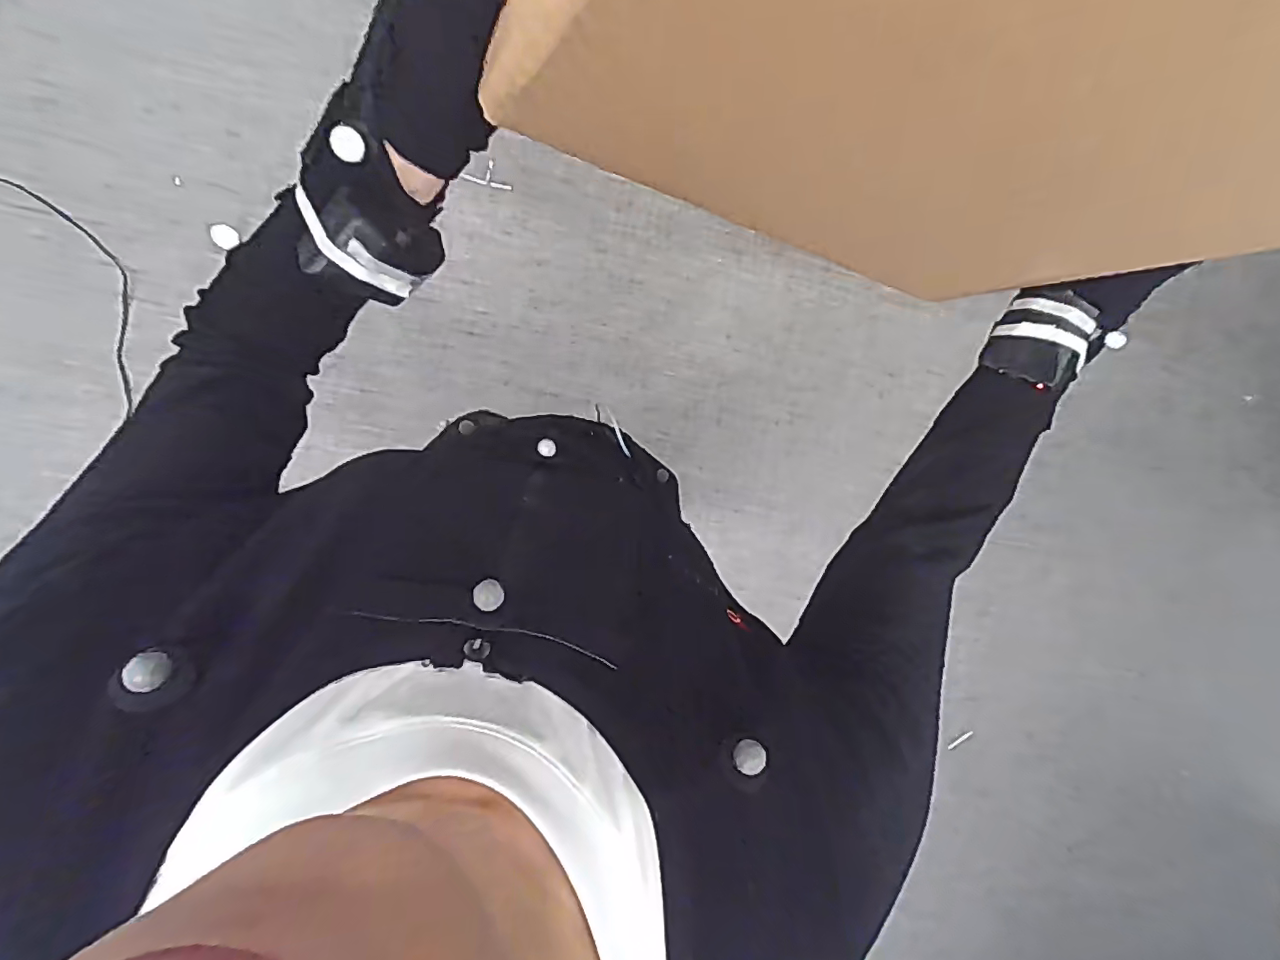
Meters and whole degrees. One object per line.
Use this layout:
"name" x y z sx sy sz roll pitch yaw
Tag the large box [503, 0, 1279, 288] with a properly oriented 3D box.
"large box" 0.187 -0.306 0.236 0.408 0.320 0.320 4 96 -33
